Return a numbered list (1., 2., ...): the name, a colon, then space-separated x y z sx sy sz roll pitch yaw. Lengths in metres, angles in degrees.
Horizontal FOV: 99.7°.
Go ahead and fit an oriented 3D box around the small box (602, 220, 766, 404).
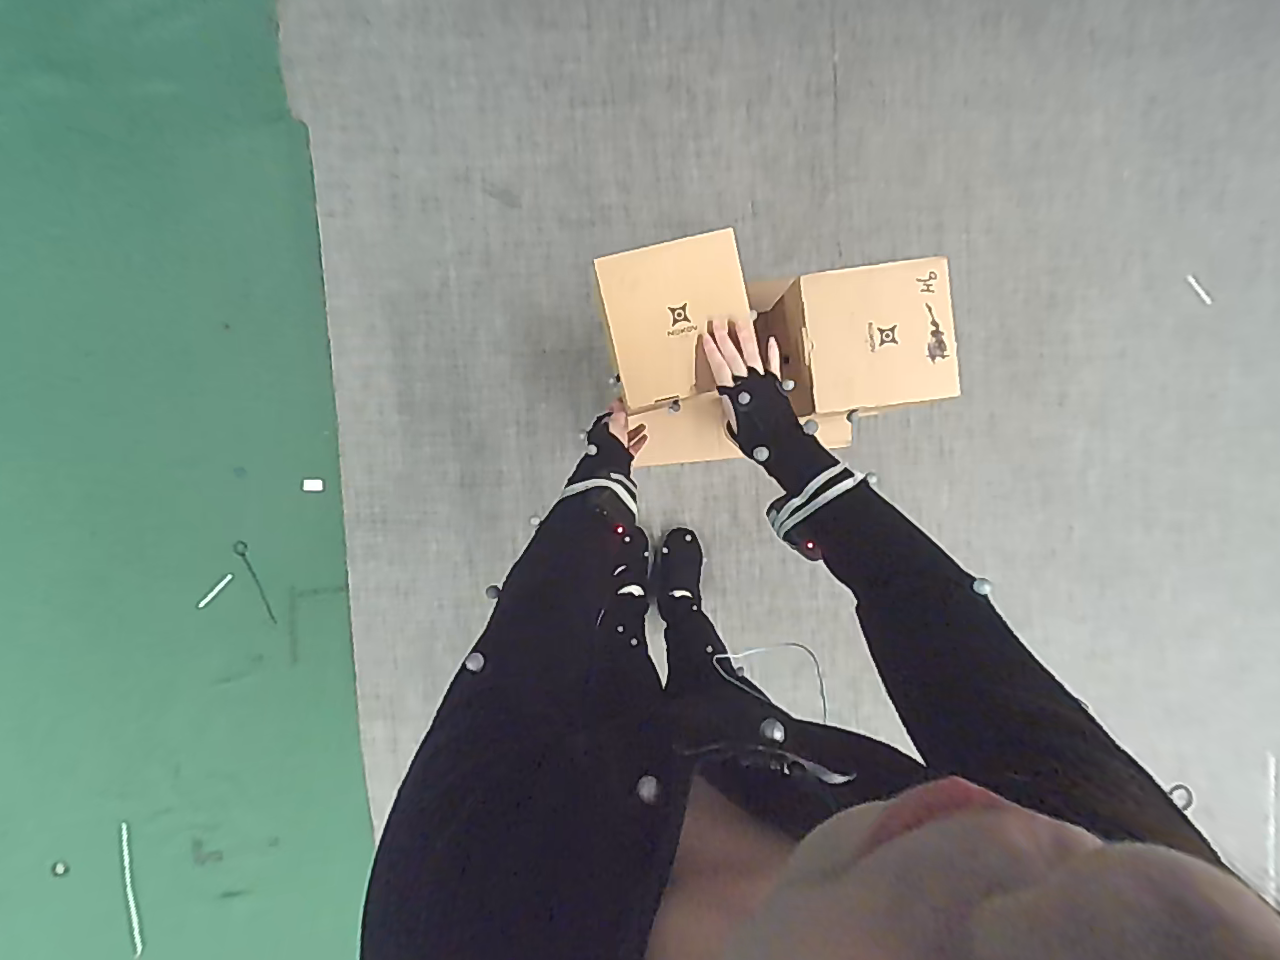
1. small box: 0.047 -0.205 0.704 0.168 0.176 0.179 -14 96 -2
